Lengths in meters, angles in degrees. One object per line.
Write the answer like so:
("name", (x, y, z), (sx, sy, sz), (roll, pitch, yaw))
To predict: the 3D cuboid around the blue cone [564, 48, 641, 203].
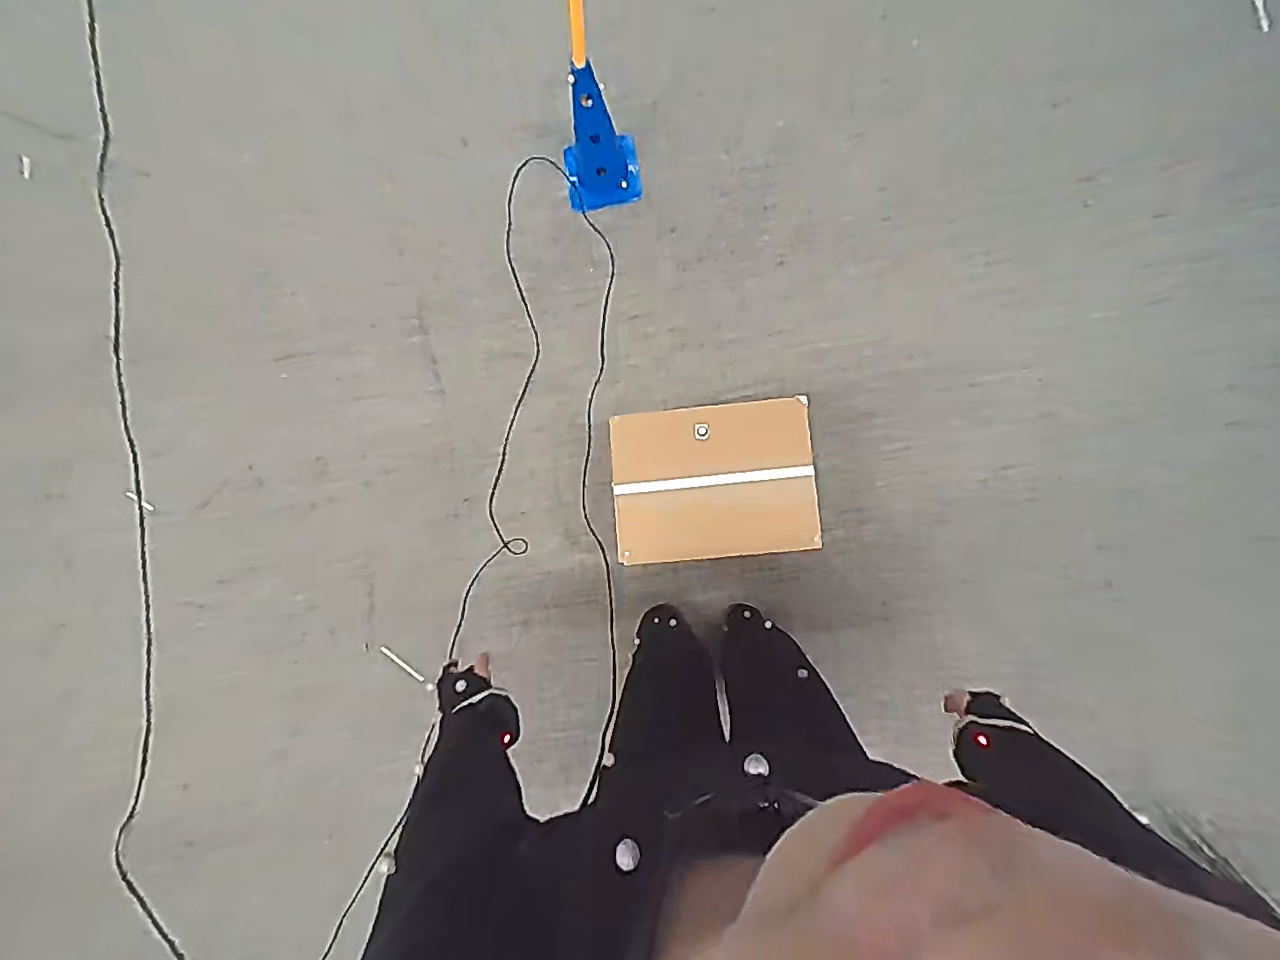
("blue cone", (-0.111, -0.865, 1.294), (0.193, 0.380, 0.192), (-12, 85, 1))
